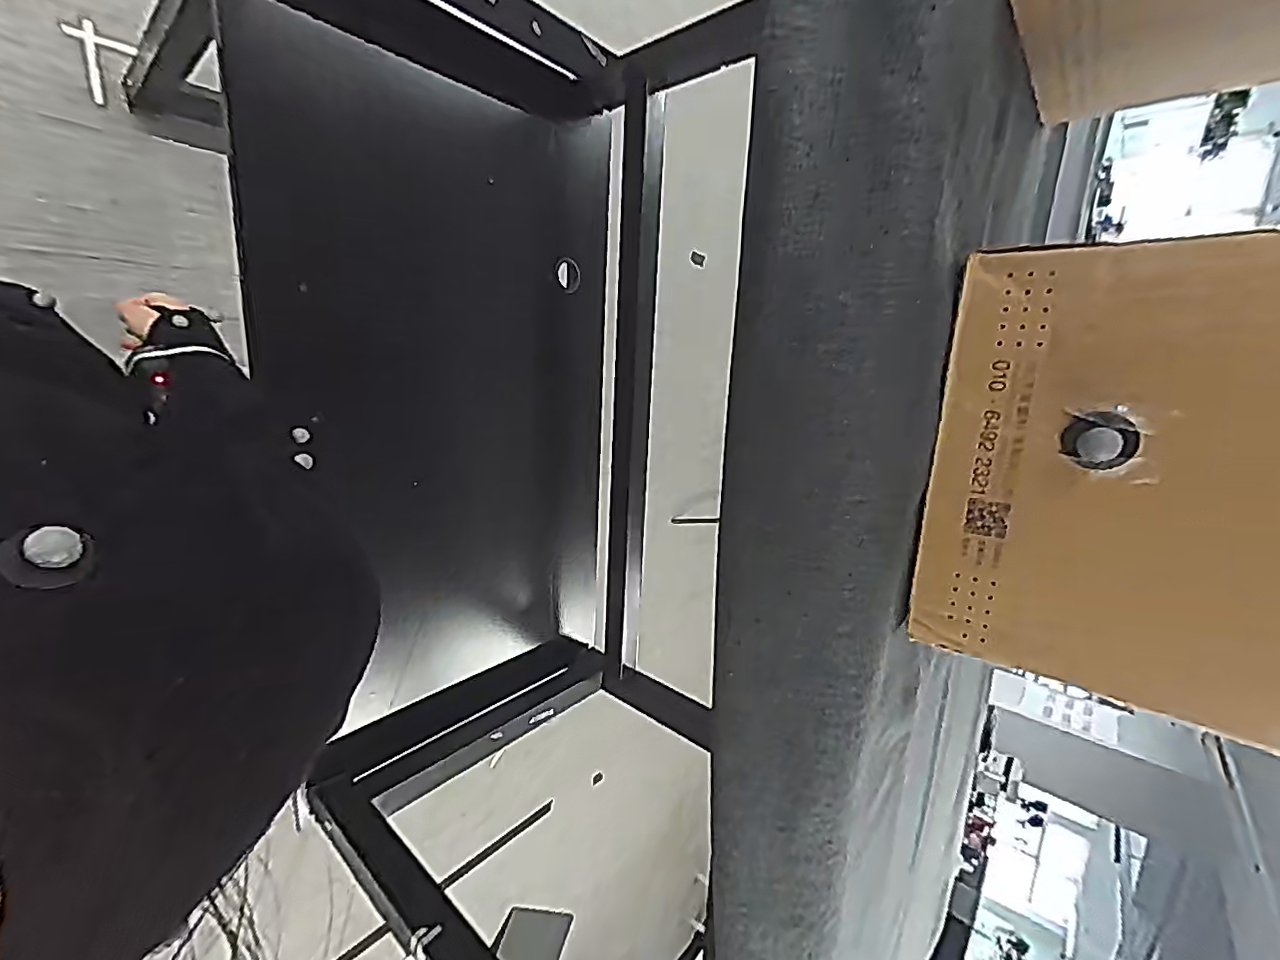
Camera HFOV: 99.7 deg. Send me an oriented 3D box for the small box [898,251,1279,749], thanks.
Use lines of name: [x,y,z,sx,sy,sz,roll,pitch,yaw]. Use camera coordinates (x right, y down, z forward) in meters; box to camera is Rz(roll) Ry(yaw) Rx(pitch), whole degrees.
small box: [0.240,-0.007,0.252,0.179,0.176,0.168,-13,110,-50]

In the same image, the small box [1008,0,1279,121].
small box: [0.247,-0.256,0.192,0.179,0.176,0.168,-16,113,-50]
